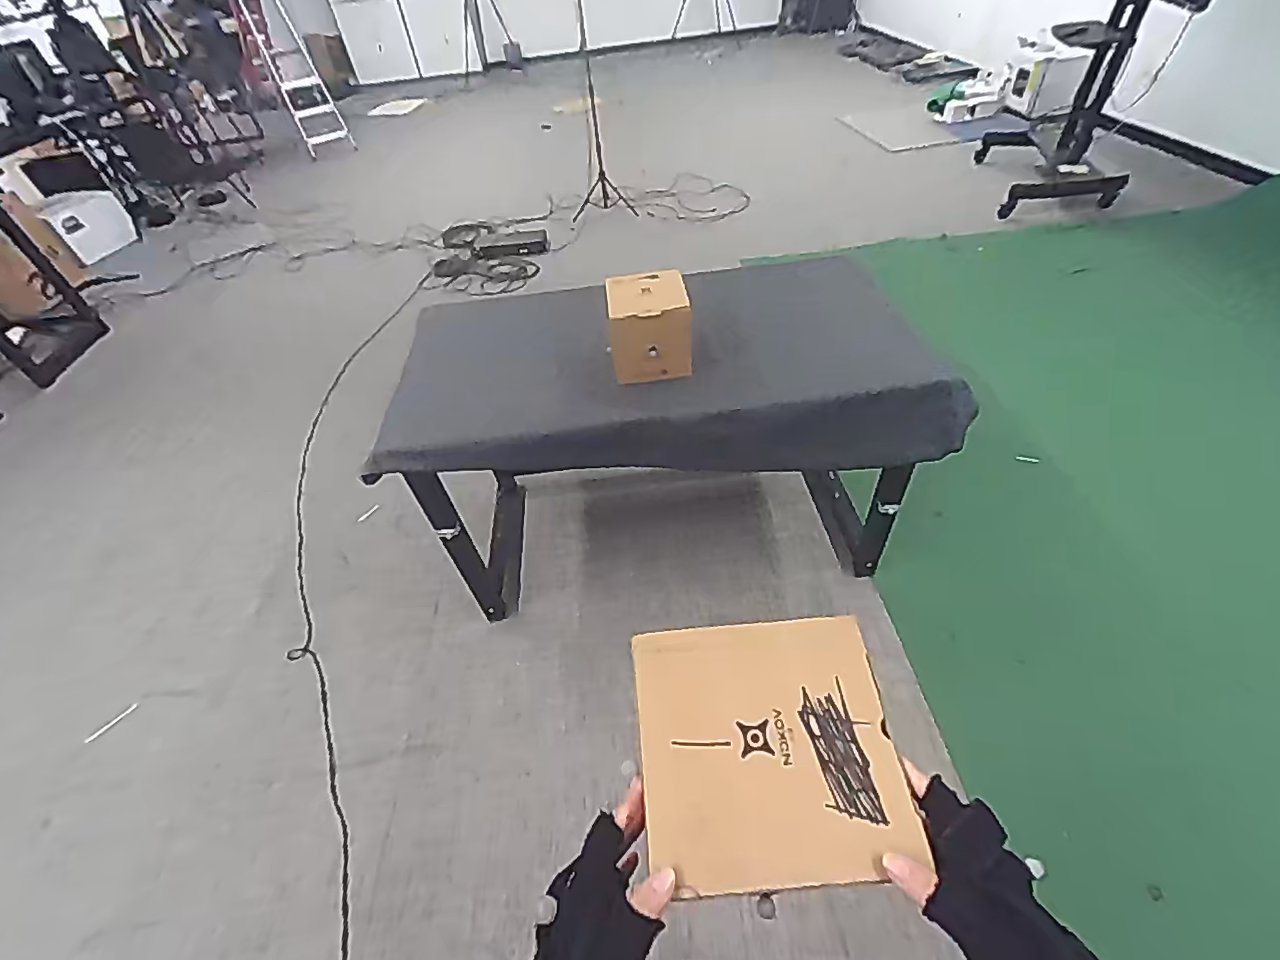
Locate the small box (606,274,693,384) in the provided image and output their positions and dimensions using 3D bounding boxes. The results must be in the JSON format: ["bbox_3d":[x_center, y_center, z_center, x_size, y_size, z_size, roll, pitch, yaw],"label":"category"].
[{"bbox_3d":[0.021,-0.325,1.189,0.168,0.176,0.179,-8,46,1],"label":"small box"}]
